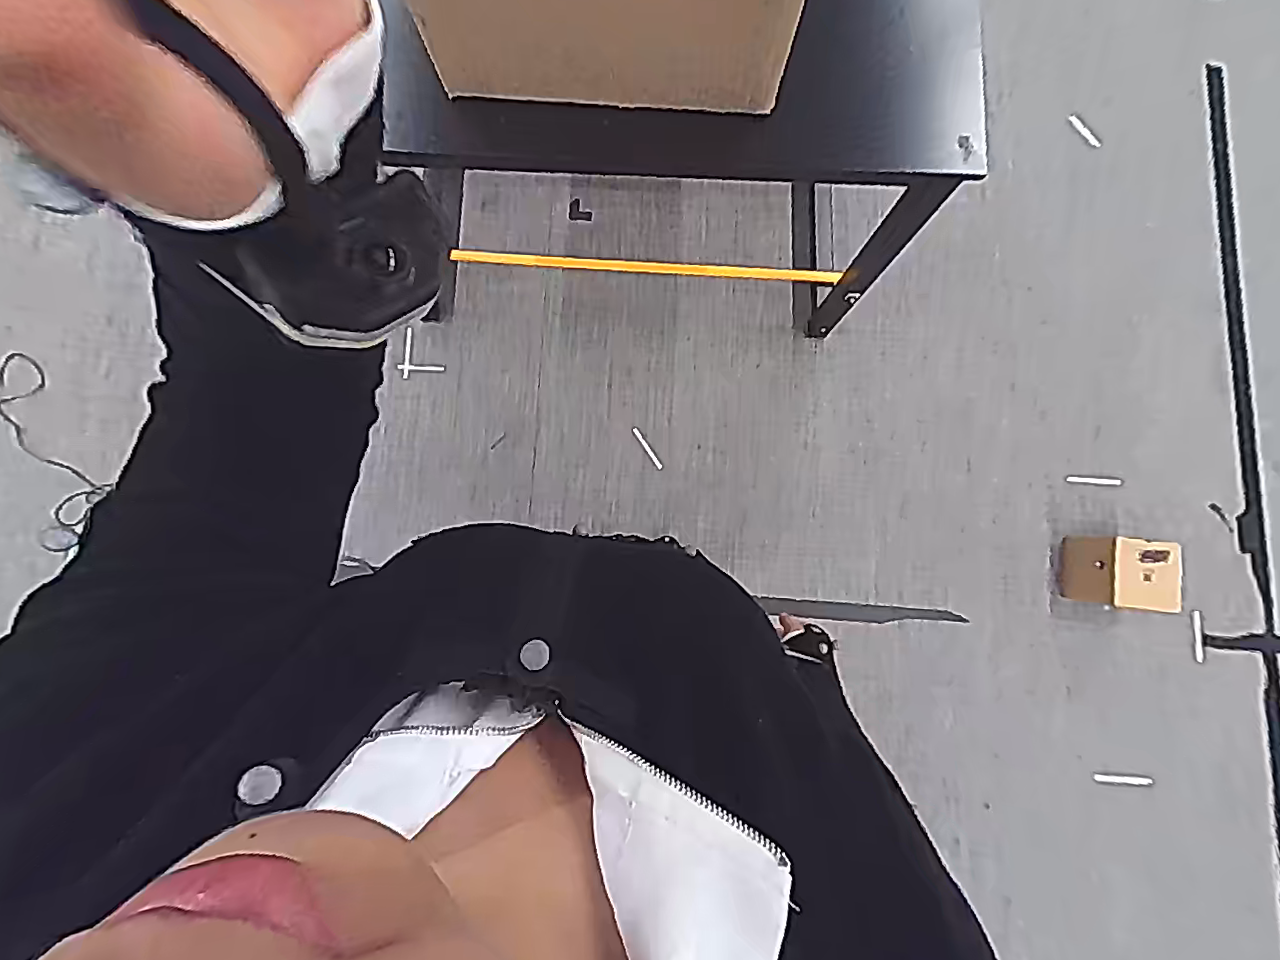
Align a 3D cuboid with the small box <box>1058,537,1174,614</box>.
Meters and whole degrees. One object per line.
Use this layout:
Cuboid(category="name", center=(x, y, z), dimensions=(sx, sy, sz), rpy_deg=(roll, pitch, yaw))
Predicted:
Cuboid(category="small box", center=(1.250, 0.247, 1.430), dimensions=(0.168, 0.176, 0.179), rpy_deg=(7, 84, 1))
